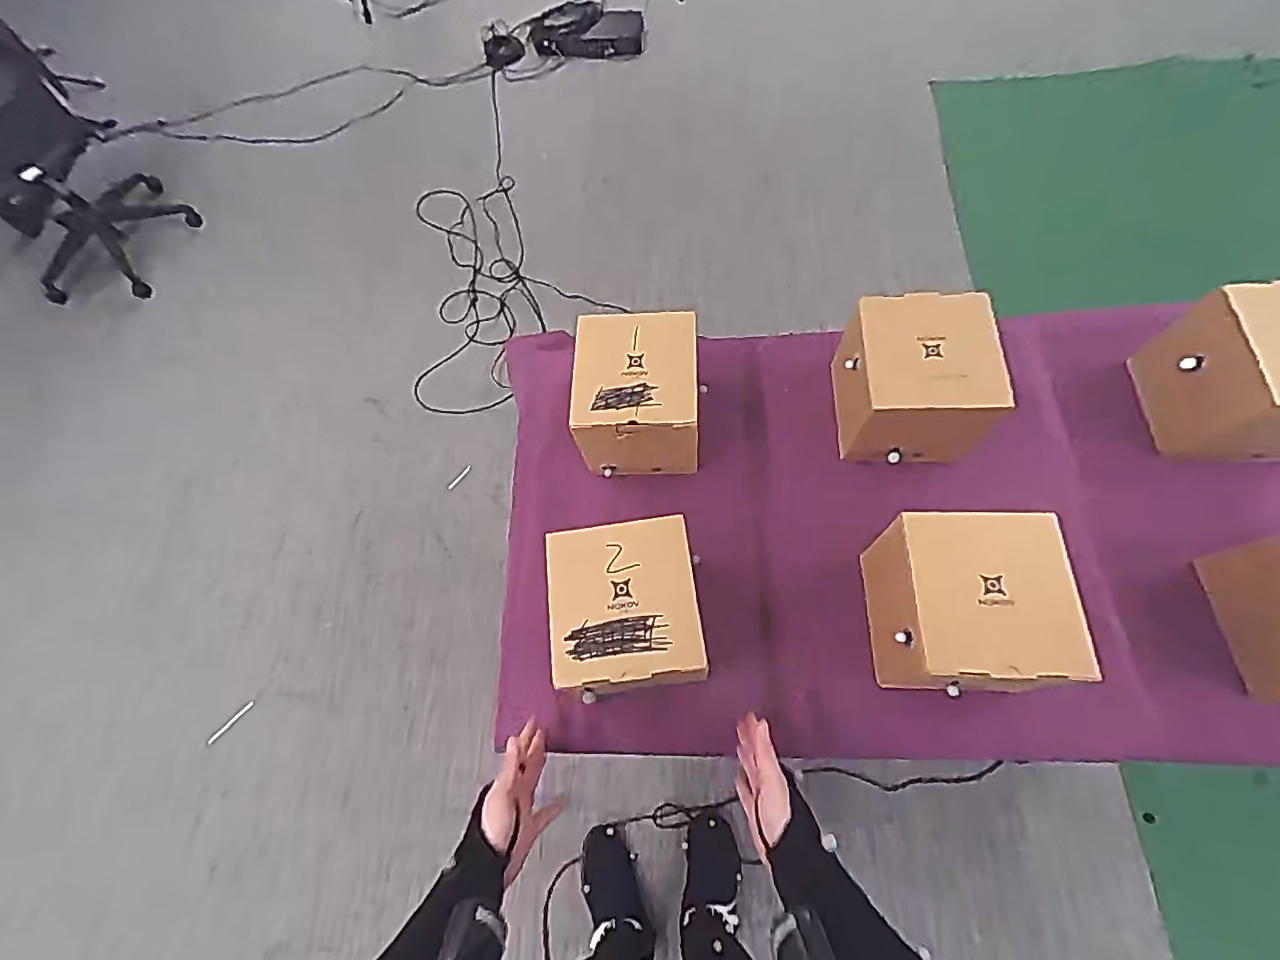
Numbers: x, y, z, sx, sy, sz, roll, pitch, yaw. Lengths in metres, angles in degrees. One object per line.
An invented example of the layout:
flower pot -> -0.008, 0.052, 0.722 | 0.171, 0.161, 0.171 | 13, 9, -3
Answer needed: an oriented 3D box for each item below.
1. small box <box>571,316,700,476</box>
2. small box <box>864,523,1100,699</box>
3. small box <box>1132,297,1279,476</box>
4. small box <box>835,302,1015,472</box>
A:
small box -> 0.003, -0.111, 0.778 | 0.168, 0.176, 0.179 | 0, 69, 4
small box -> 0.379, 0.161, 0.641 | 0.168, 0.176, 0.179 | 0, 68, 5
small box -> 0.813, -0.118, 0.715 | 0.168, 0.176, 0.179 | 0, 68, 6
small box -> 0.379, -0.125, 0.756 | 0.168, 0.176, 0.179 | 1, 70, 6
